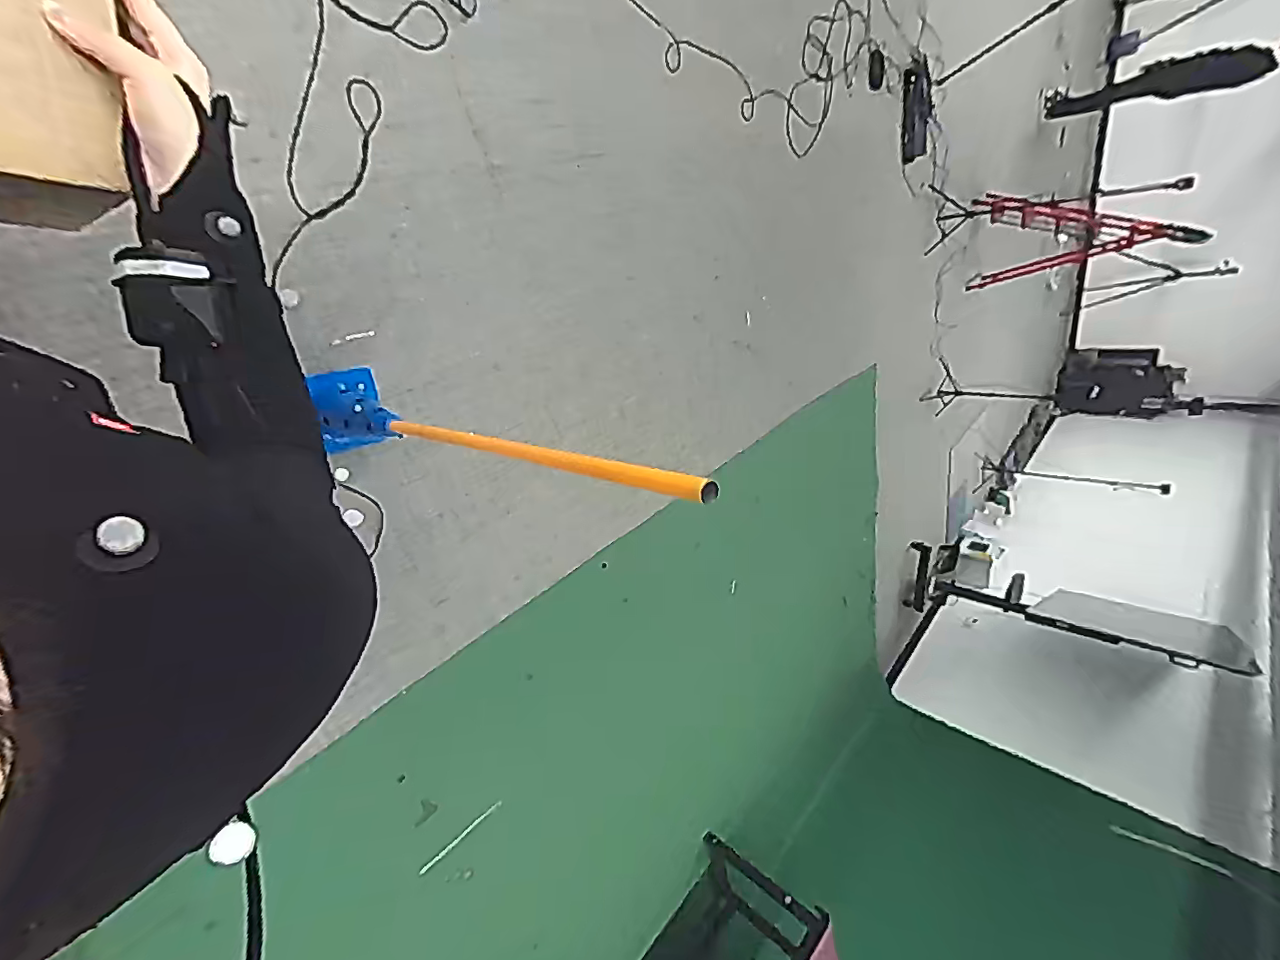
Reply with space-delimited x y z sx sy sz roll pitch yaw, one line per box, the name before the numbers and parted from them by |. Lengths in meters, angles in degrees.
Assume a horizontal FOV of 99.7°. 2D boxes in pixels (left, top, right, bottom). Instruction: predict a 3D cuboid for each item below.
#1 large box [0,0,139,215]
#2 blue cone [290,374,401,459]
large box | -0.583 -0.354 0.276 0.408 0.320 0.320 -15 113 -50
blue cone | -0.652 -0.134 1.259 0.193 0.380 0.192 -22 116 -41
